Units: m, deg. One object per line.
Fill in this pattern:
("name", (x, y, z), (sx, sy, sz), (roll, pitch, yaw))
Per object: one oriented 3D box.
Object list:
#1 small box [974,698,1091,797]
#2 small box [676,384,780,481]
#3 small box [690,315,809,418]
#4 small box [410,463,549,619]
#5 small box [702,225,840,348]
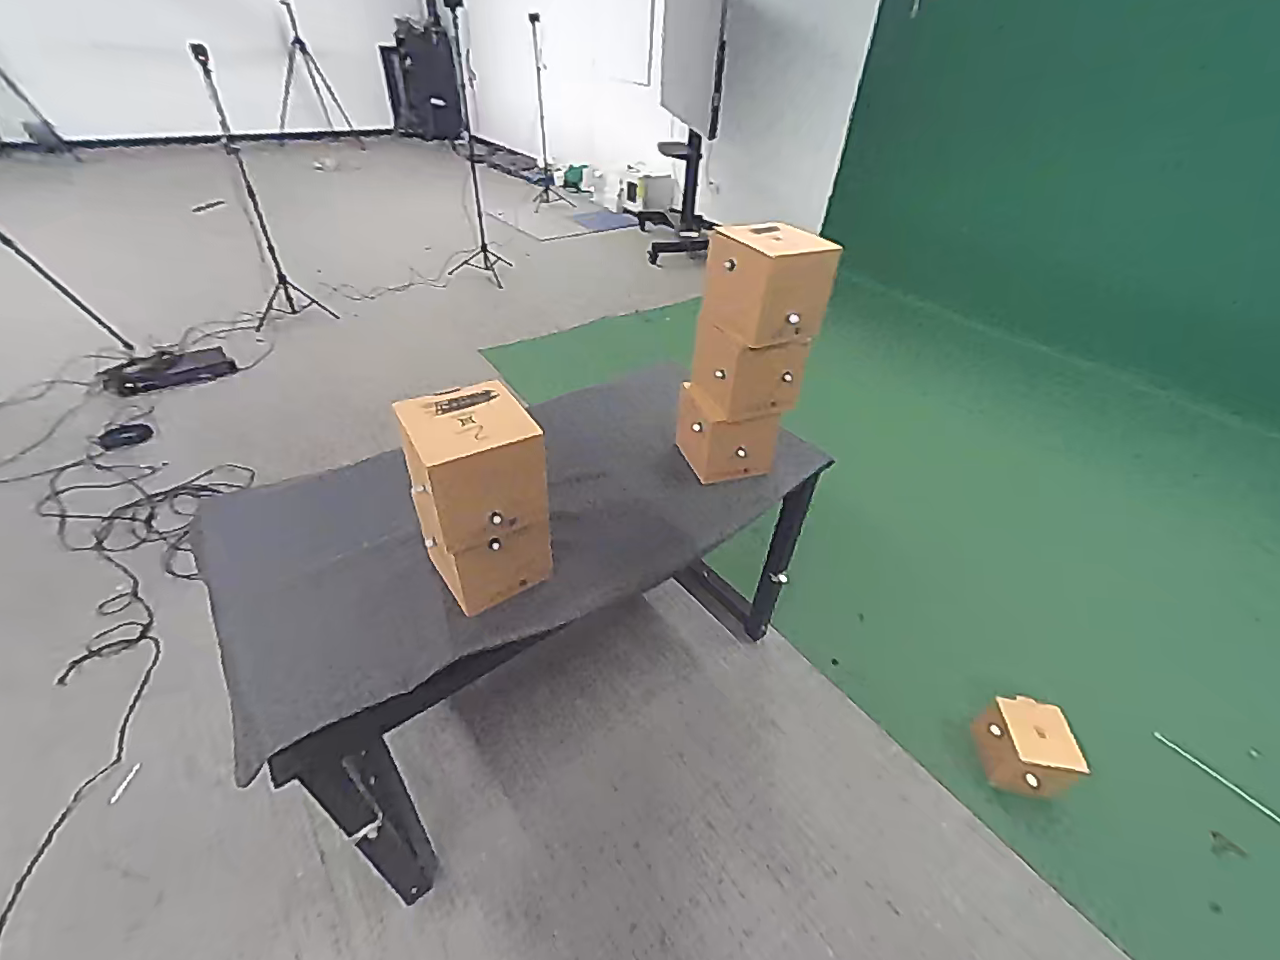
("small box", (1.033, 0.716, 1.440), (0.168, 0.176, 0.179), (7, 39, 4))
("small box", (0.190, -0.111, 1.217), (0.168, 0.176, 0.179), (-9, 39, -16))
("small box", (0.217, -0.238, 1.119), (0.168, 0.176, 0.179), (-12, 40, -20))
("small box", (-0.272, 0.103, 0.932), (0.168, 0.176, 0.179), (-25, 46, -30))
("small box", (0.234, -0.365, 1.016), (0.168, 0.176, 0.179), (-17, 43, -24))
